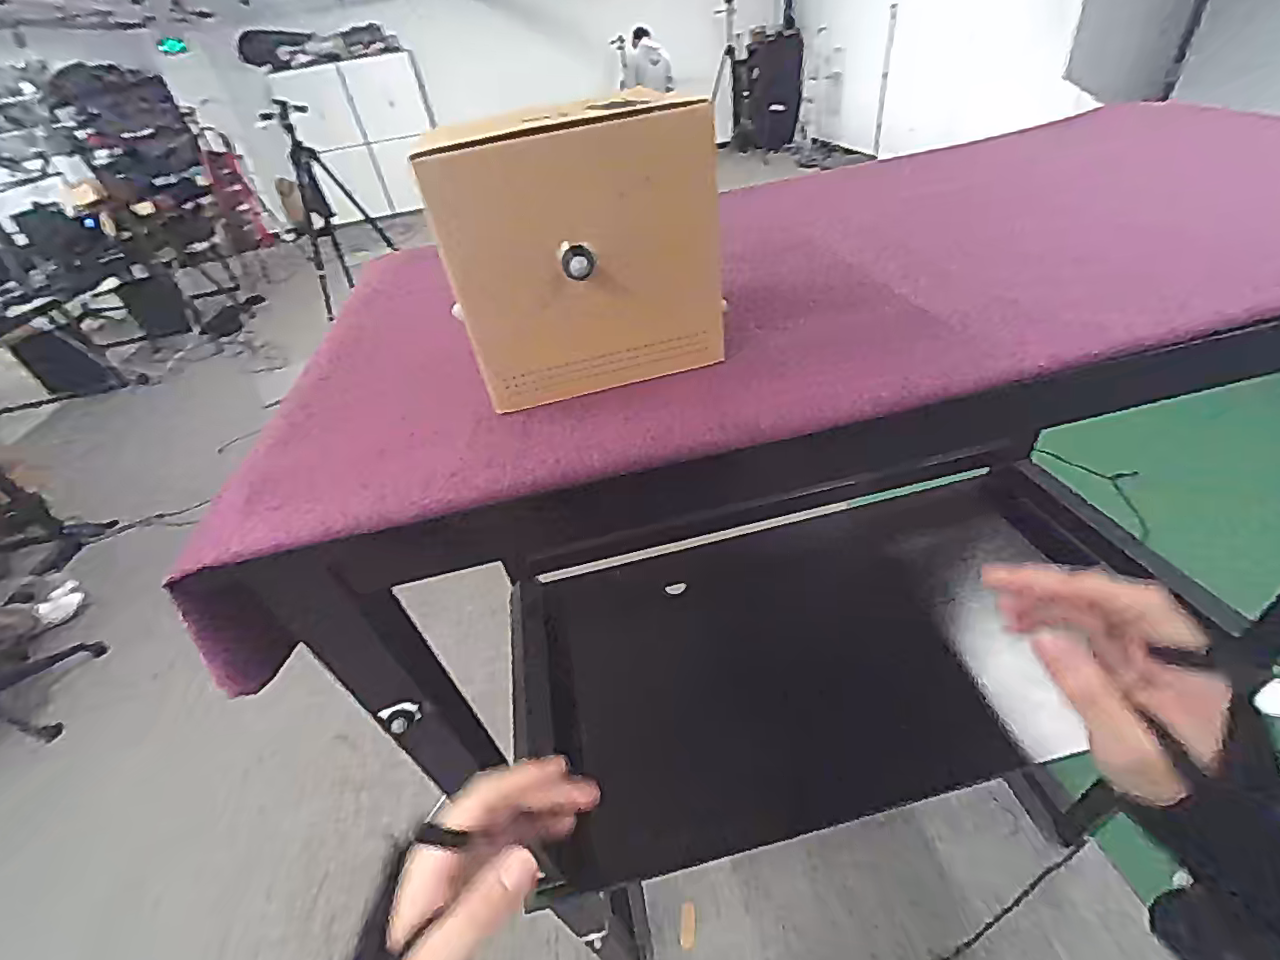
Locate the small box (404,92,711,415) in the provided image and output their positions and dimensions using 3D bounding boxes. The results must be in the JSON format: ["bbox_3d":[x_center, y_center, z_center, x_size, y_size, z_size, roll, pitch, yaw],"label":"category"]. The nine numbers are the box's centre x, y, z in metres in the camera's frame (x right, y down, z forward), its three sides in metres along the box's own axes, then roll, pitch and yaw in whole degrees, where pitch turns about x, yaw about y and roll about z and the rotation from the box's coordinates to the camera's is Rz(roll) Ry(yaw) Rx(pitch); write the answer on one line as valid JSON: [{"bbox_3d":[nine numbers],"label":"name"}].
[{"bbox_3d":[-0.051,-0.173,0.410,0.179,0.176,0.168,-16,39,-5],"label":"small box"}]
